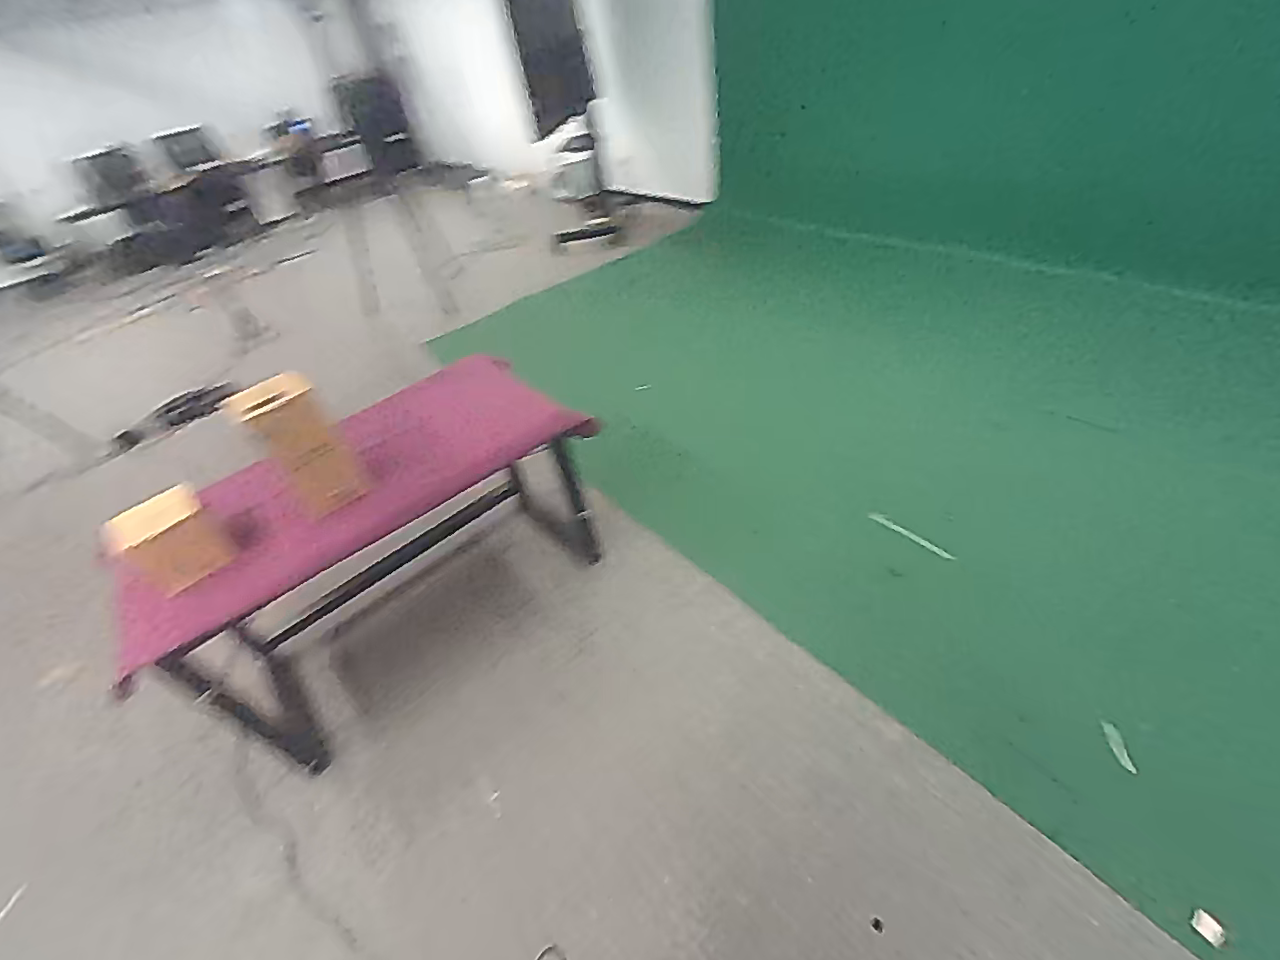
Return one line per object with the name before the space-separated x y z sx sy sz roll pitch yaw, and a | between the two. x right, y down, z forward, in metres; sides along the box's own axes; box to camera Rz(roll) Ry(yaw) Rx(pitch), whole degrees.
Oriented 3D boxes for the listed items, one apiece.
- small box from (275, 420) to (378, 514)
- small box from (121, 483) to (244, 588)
small box | -0.869 -0.035 1.506 0.168 0.176 0.179 -36 47 -25
small box | -1.159 0.143 1.376 0.168 0.176 0.179 -38 48 -27
